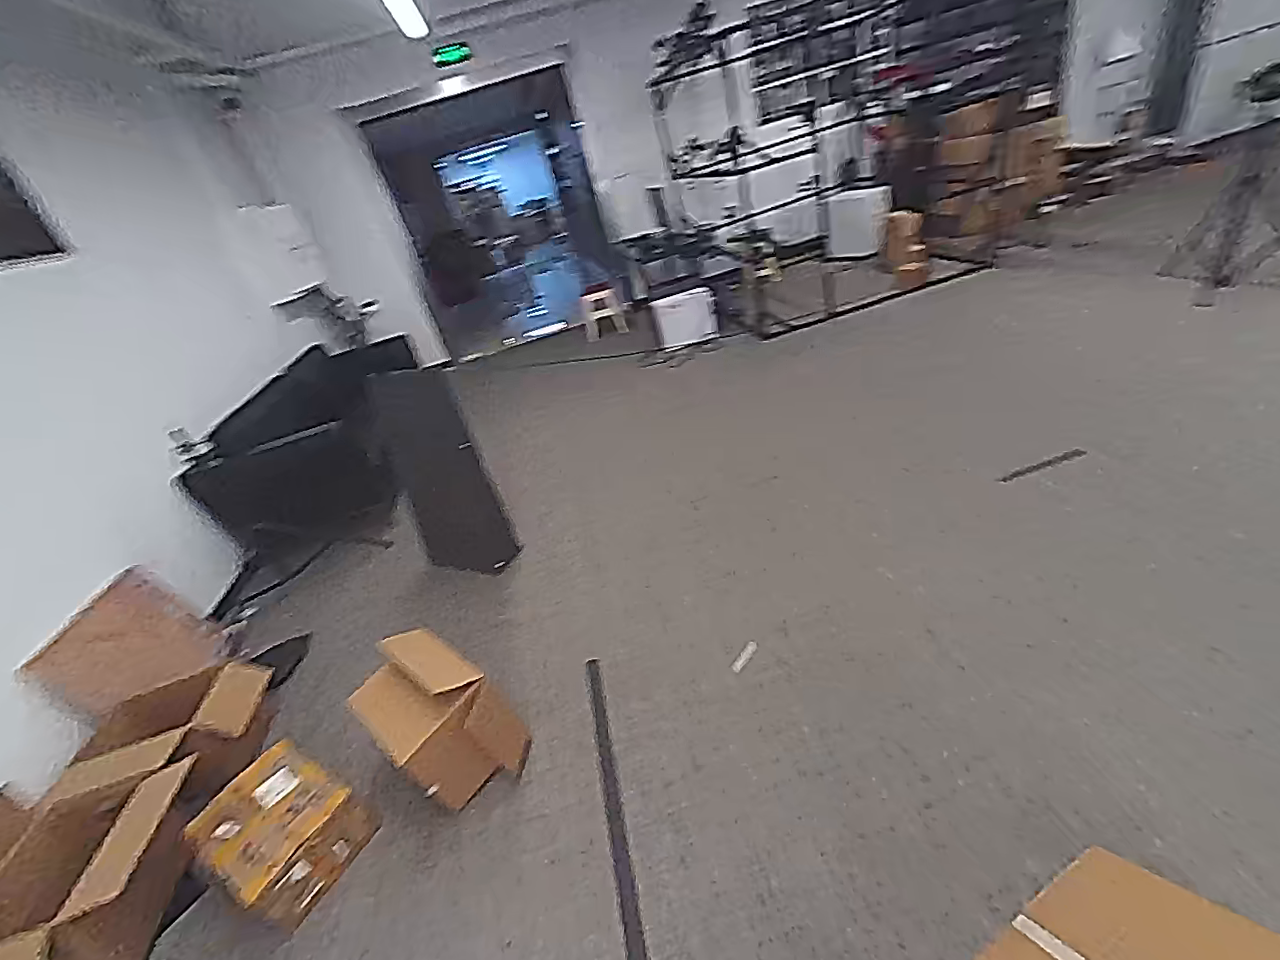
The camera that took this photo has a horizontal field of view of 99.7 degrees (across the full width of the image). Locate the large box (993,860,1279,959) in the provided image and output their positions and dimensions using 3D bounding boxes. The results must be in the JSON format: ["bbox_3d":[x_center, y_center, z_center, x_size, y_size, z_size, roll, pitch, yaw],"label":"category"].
[{"bbox_3d":[0.603,0.674,0.493,0.320,0.320,0.408,-32,-5,-12],"label":"large box"}]
